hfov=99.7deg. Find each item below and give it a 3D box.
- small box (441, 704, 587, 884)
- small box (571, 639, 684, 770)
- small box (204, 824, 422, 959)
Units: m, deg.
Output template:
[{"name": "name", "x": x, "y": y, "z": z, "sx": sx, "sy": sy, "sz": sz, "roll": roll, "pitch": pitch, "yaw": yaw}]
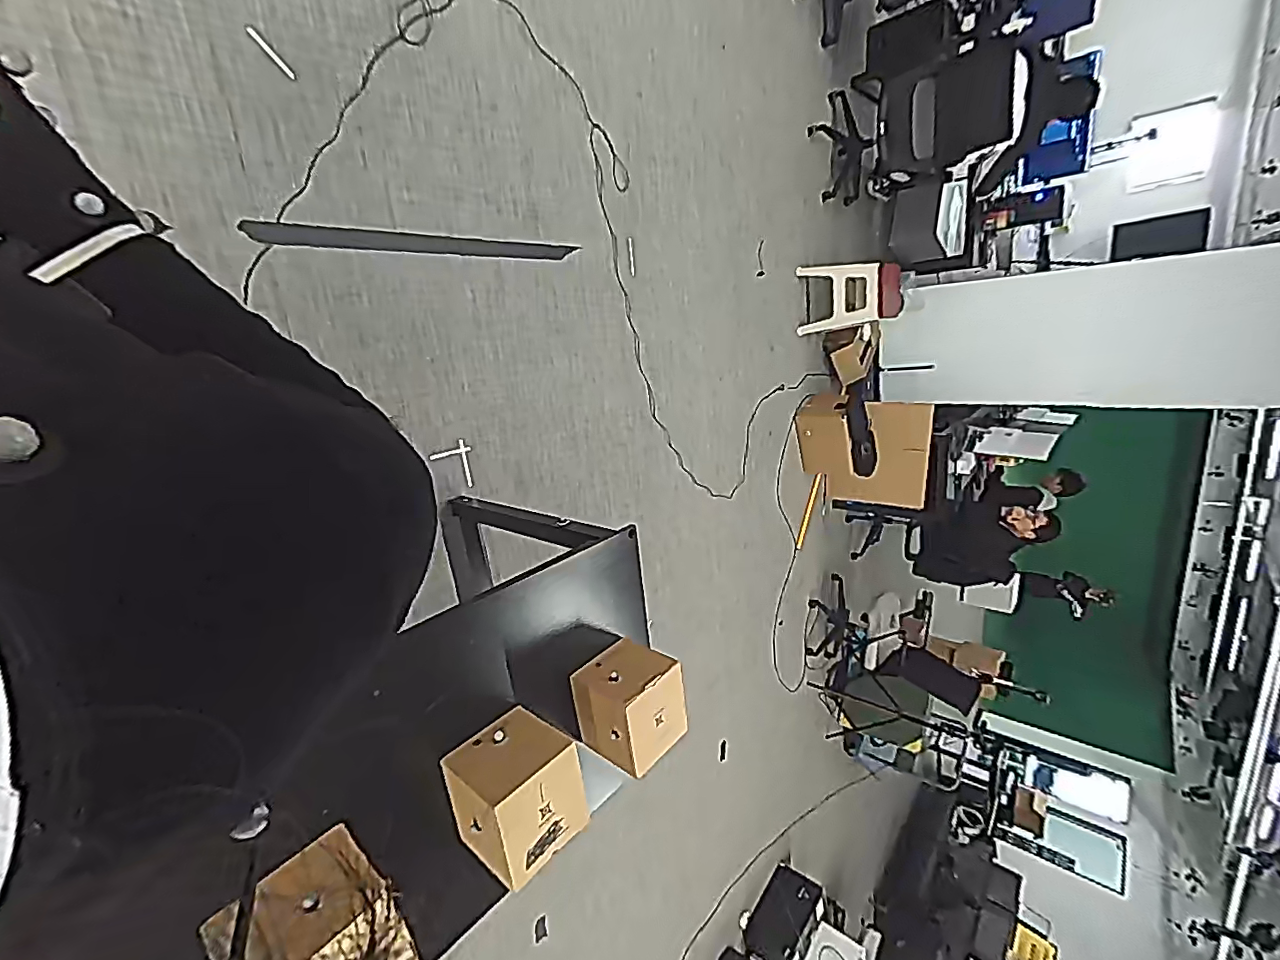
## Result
[{"name": "small box", "x": -0.218, "y": 0.530, "z": 0.941, "sx": 0.168, "sy": 0.176, "sz": 0.179, "roll": -24, "pitch": 112, "yaw": -44}, {"name": "small box", "x": -0.028, "y": 0.459, "z": 1.144, "sx": 0.168, "sy": 0.176, "sz": 0.179, "roll": -24, "pitch": 114, "yaw": -42}, {"name": "small box", "x": -0.429, "y": 0.612, "z": 0.717, "sx": 0.179, "sy": 0.176, "sz": 0.168, "roll": -28, "pitch": 116, "yaw": -43}]
